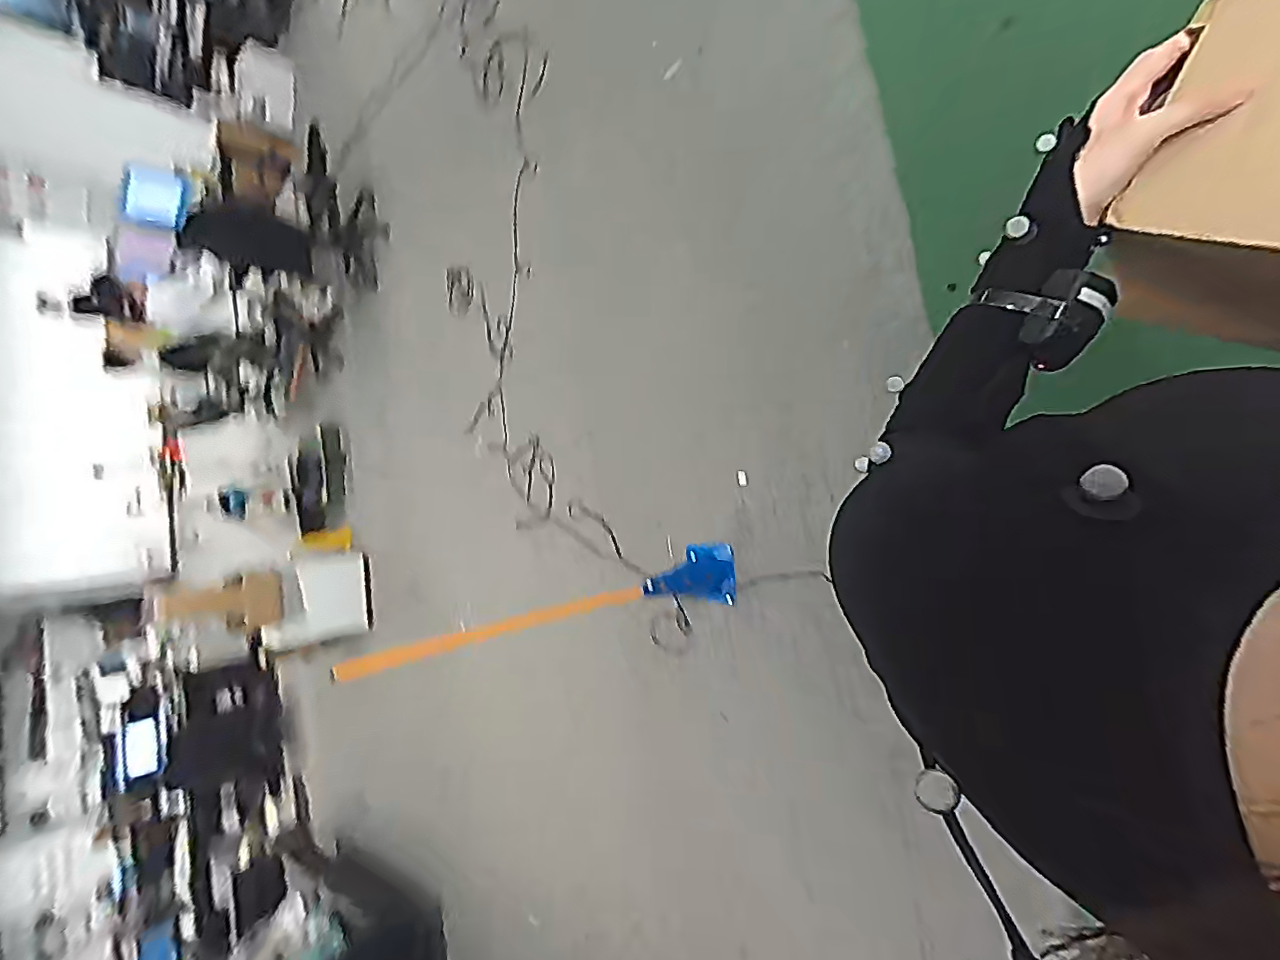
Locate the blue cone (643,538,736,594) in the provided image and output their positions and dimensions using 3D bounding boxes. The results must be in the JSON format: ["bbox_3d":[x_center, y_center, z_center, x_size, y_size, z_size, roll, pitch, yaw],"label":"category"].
[{"bbox_3d":[0.138,0.302,1.757,0.192,0.380,0.193,-2,90,42],"label":"blue cone"}]

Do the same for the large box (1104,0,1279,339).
[{"bbox_3d":[0.621,-0.258,0.356,0.408,0.320,0.320,30,110,36],"label":"large box"}]
